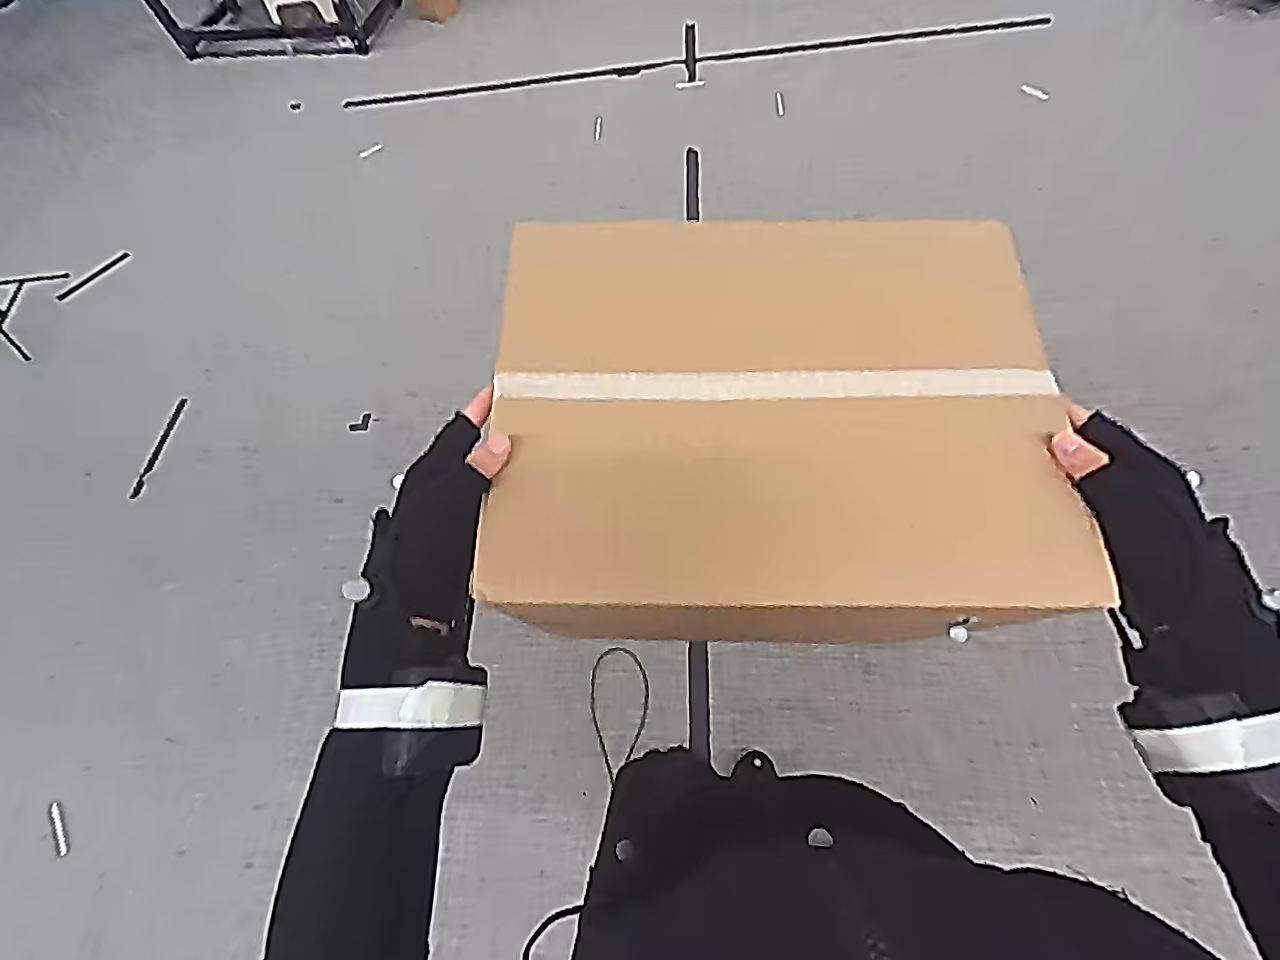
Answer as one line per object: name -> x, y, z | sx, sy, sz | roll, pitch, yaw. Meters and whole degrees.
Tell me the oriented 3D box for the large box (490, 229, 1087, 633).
large box -> 0.101, -0.013, 0.546 | 0.408, 0.320, 0.320 | 0, 70, 2
